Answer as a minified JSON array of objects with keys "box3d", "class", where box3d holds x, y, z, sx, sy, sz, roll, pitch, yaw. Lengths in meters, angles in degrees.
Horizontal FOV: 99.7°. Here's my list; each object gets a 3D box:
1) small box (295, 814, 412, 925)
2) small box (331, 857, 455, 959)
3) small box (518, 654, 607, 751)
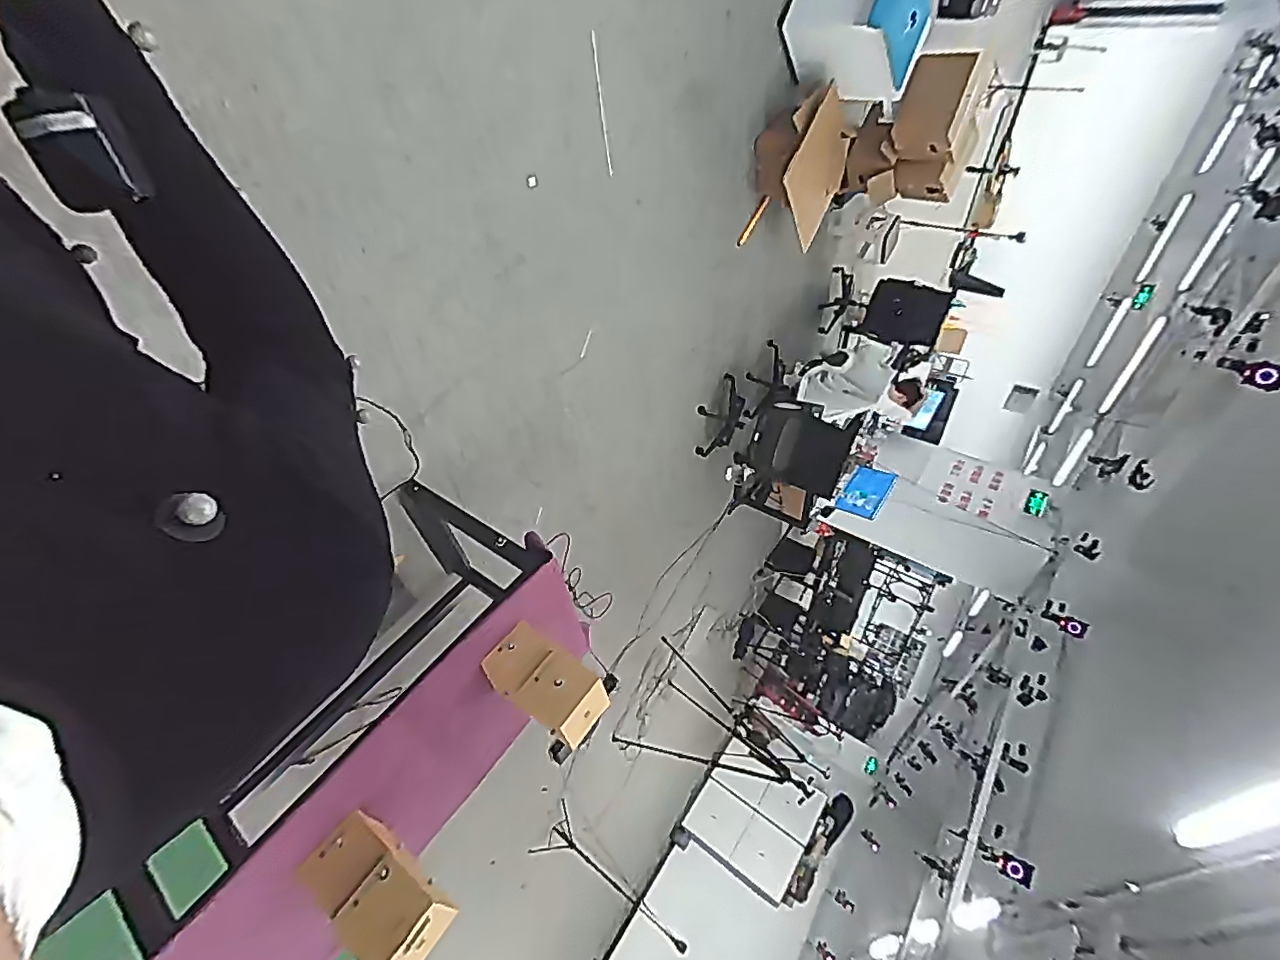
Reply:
[{"box3d":[-0.699,0.966,1.334,0.168,0.176,0.179,-46,147,-34],"class":"small box"},{"box3d":[-0.567,1.013,1.246,0.168,0.176,0.179,-48,149,-32],"class":"small box"},{"box3d":[-0.219,0.620,1.525,0.168,0.176,0.179,-46,146,-31],"class":"small box"}]
